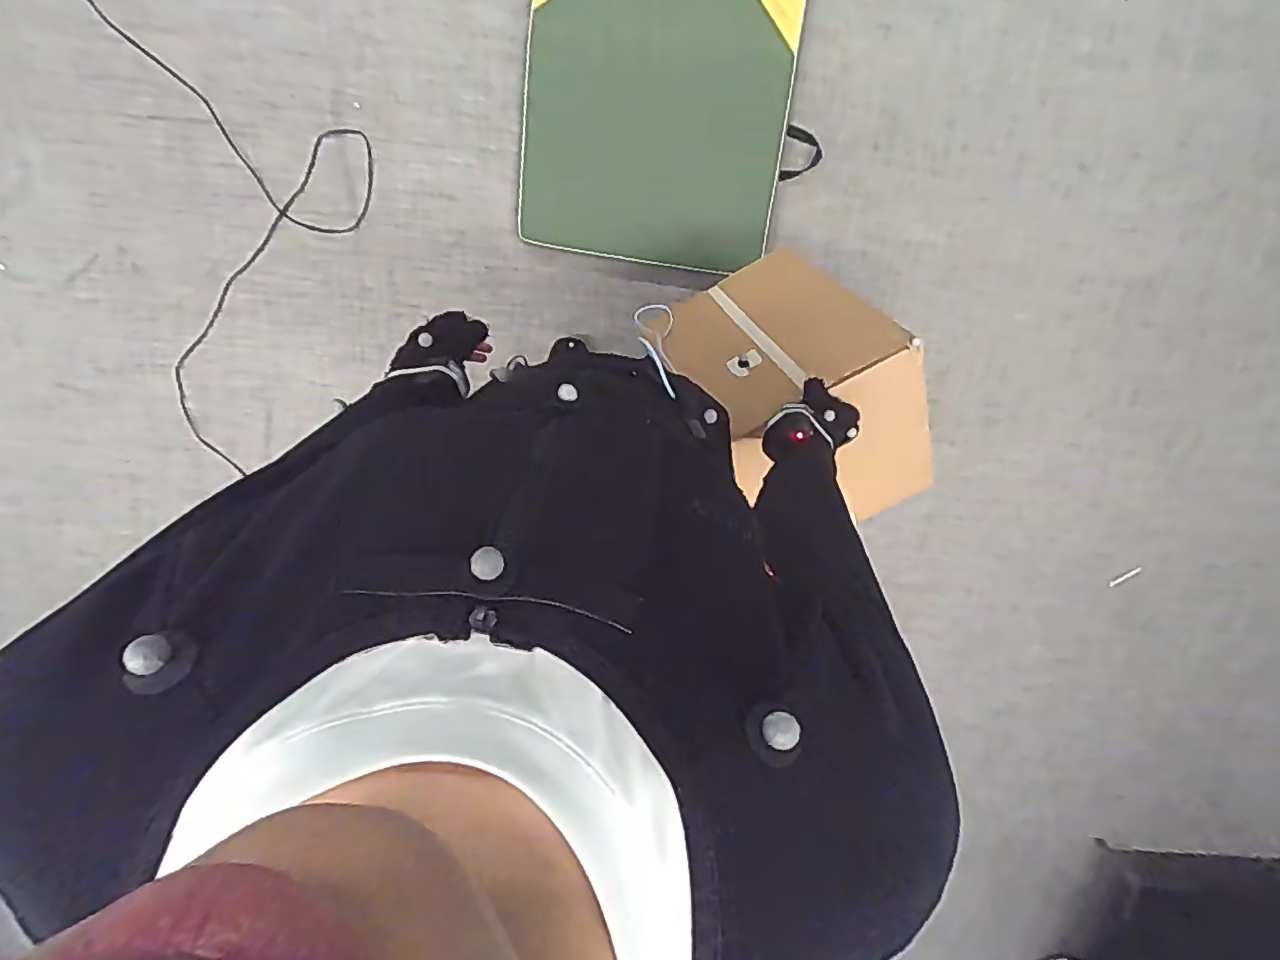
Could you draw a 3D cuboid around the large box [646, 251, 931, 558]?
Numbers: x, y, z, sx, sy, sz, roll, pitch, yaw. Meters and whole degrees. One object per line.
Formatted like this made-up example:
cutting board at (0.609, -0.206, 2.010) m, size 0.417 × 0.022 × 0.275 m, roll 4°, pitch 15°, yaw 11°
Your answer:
large box at (0.253, -0.144, 0.975) m, size 0.320 × 0.408 × 0.320 m, roll -29°, pitch 132°, yaw 6°
